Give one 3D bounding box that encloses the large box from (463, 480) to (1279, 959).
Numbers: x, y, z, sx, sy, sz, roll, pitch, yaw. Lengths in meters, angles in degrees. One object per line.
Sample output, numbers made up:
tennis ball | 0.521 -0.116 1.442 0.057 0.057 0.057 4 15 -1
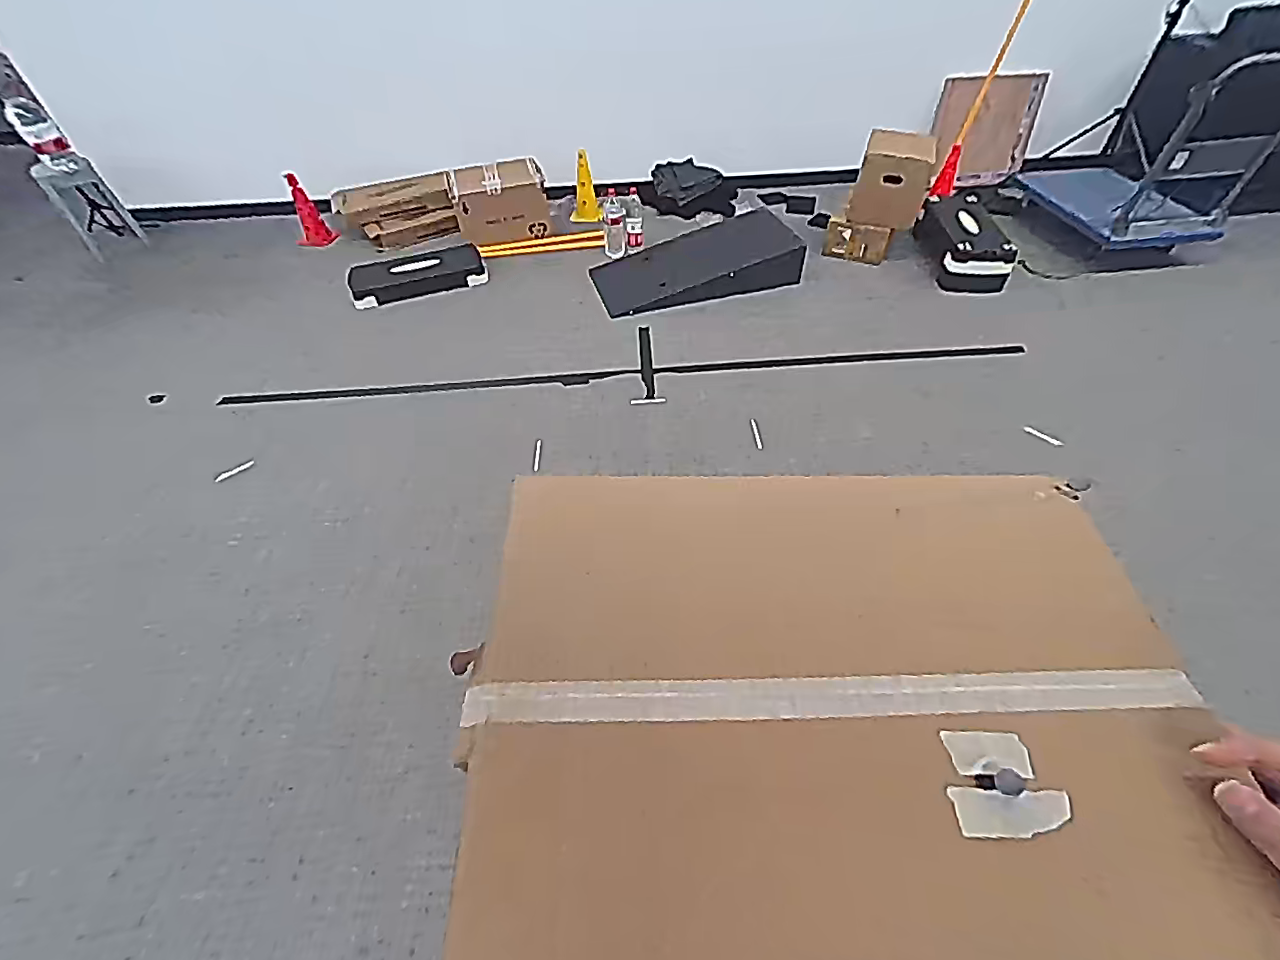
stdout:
large box | 0.107 0.213 0.434 0.408 0.320 0.320 0 53 -3
